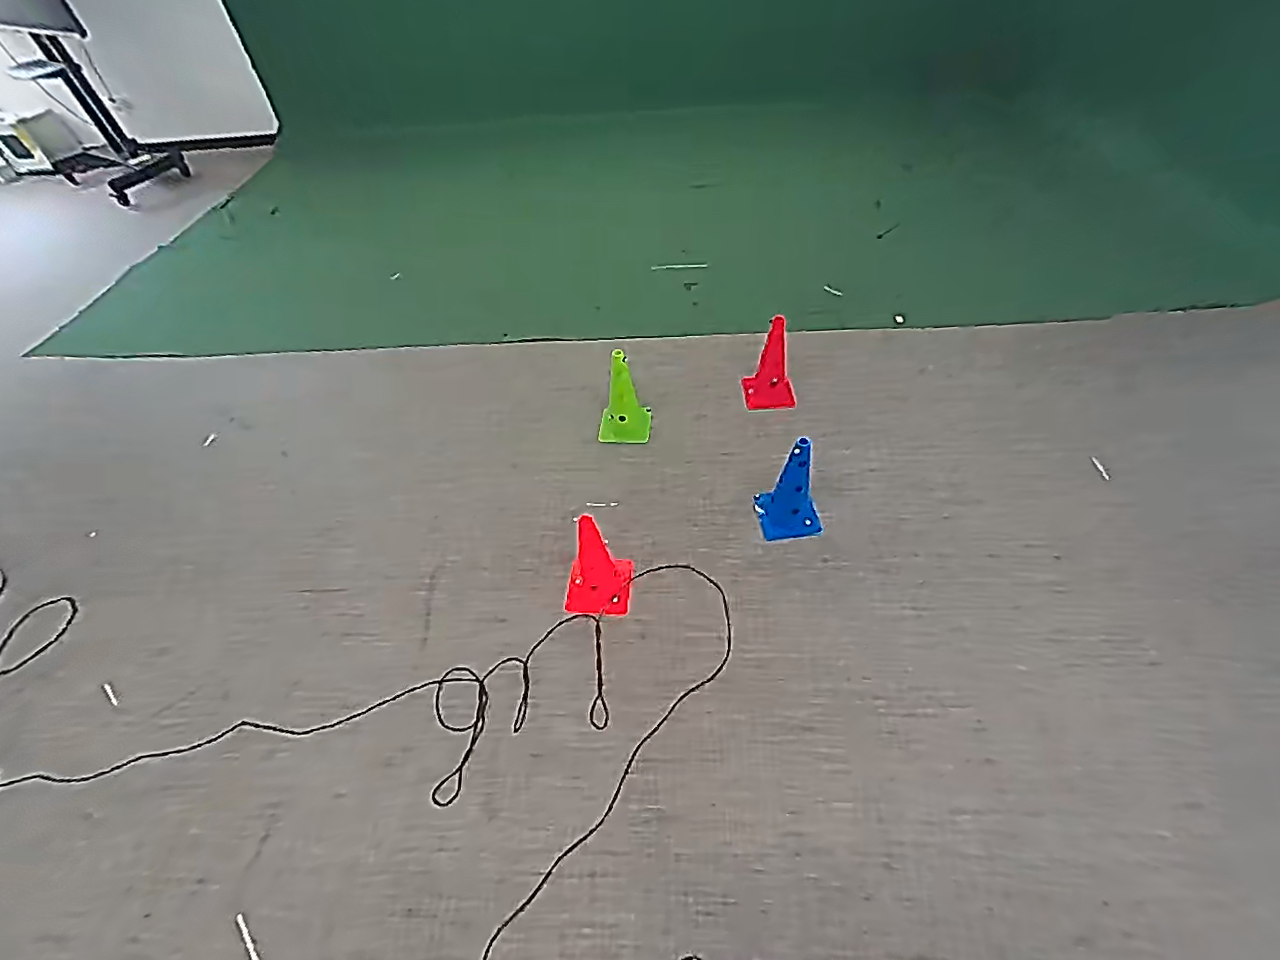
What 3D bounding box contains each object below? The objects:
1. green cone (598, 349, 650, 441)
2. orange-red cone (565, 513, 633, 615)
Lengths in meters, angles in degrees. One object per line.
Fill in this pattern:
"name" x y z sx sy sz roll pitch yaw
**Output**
"green cone" -0.075 -0.342 2.050 0.200 0.368 0.202 0 51 5
"orange-red cone" -0.135 0.216 1.580 0.198 0.360 0.199 3 48 6
